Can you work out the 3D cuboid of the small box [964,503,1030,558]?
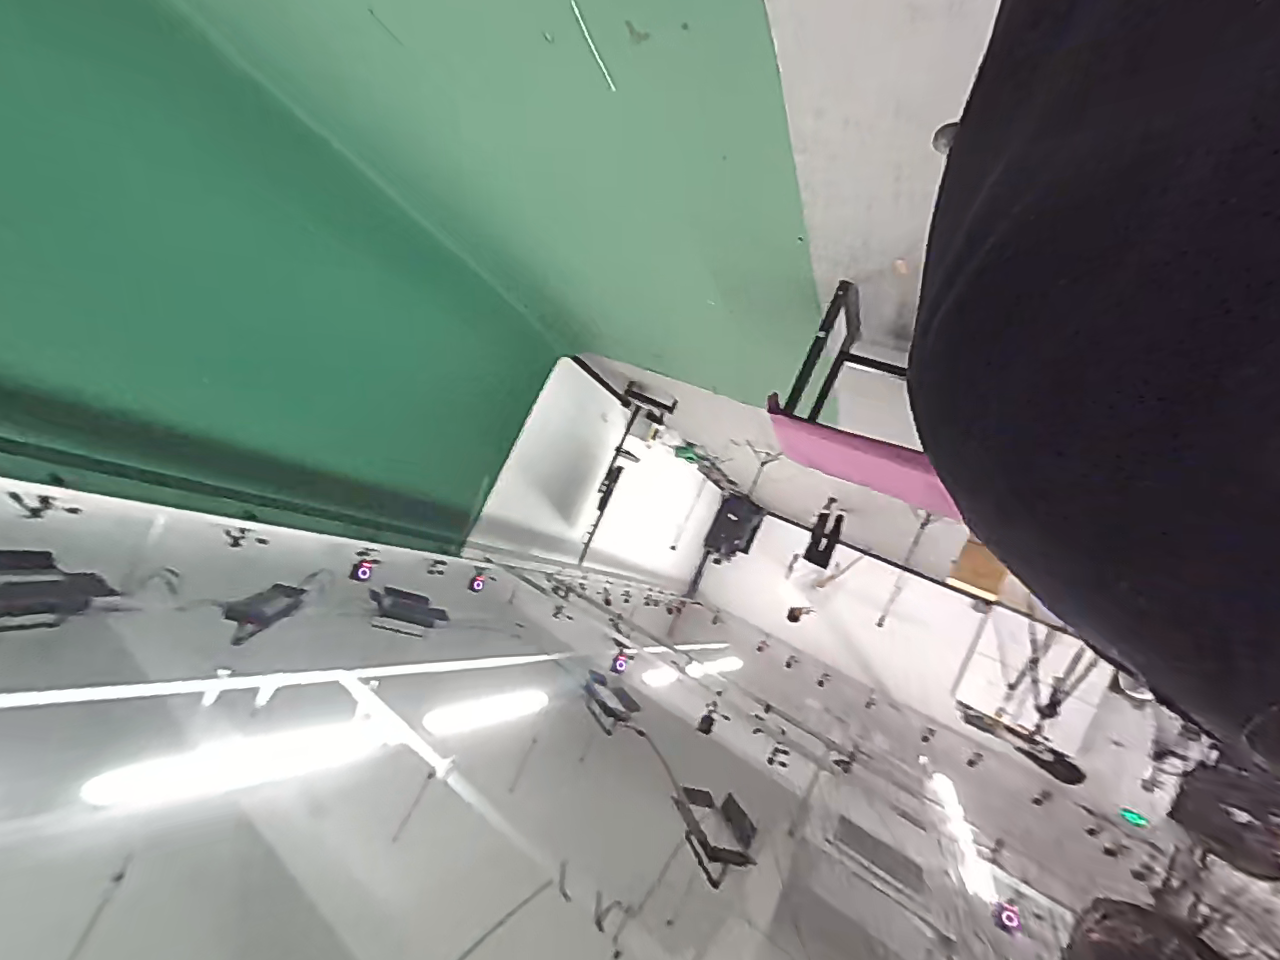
[{"bbox_3d":[1.435,0.208,2.179,0.179,0.176,0.168,24,175,31],"label":"small box"}]

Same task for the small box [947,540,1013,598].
[{"bbox_3d":[1.360,0.350,2.167,0.179,0.176,0.168,23,174,33],"label":"small box"}]
